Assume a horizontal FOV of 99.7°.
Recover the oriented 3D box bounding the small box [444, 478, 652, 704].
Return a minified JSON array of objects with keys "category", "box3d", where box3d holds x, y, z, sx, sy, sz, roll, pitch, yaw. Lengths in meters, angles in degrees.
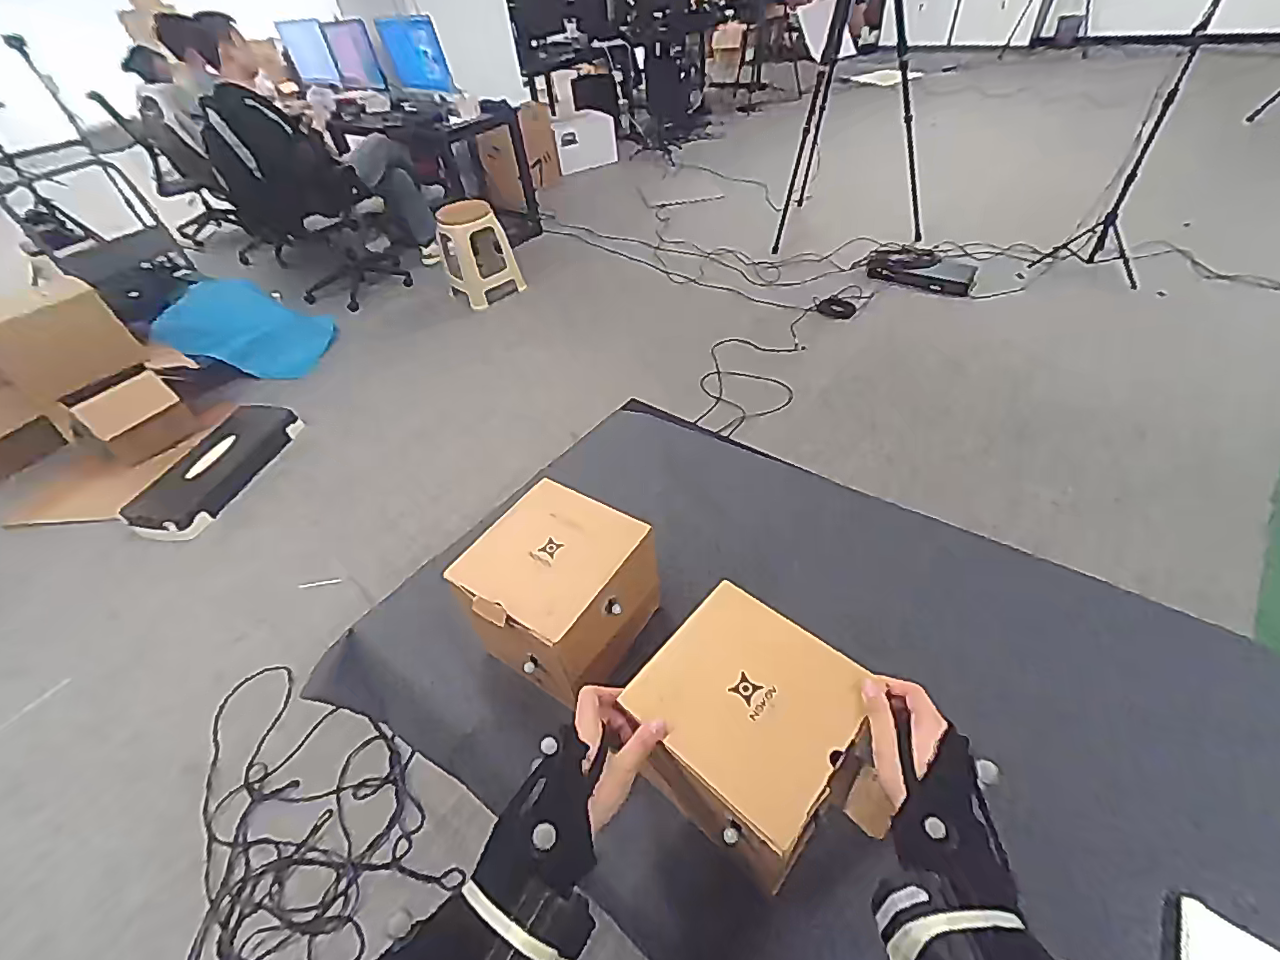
[{"category":"small box","box3d":[-0.095,0.134,0.656,0.168,0.176,0.179,23,51,26]}]
